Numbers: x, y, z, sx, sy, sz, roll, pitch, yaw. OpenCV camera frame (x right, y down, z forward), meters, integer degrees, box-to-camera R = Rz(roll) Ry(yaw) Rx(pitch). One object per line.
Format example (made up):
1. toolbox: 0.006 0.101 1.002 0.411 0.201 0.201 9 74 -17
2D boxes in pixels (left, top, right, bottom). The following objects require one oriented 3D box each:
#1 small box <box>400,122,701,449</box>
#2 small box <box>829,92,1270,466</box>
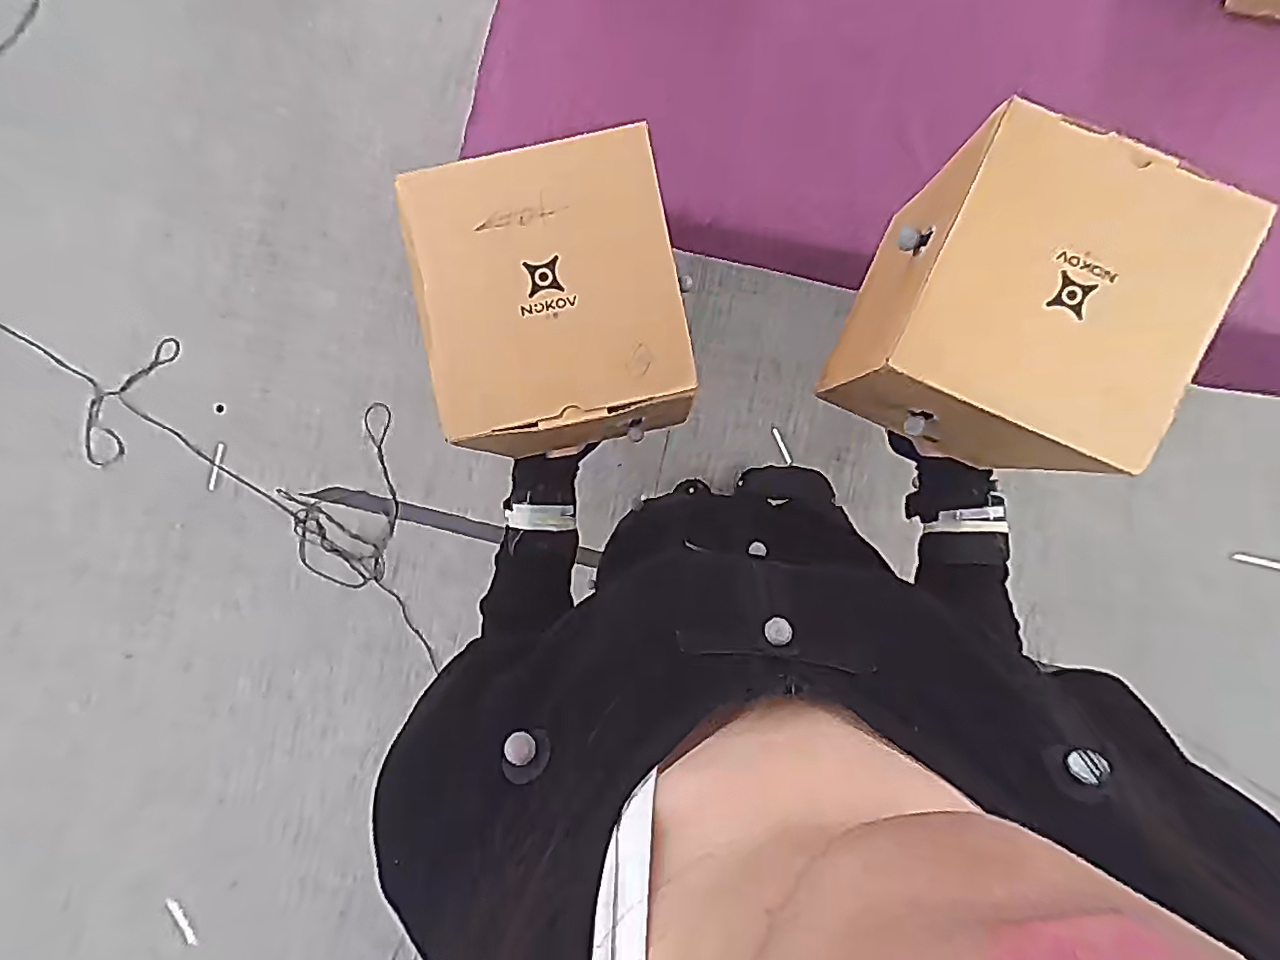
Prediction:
1. small box: -0.055 -0.124 0.420 0.168 0.176 0.179 -12 88 0
2. small box: 0.262 -0.121 0.400 0.168 0.176 0.179 24 93 2
